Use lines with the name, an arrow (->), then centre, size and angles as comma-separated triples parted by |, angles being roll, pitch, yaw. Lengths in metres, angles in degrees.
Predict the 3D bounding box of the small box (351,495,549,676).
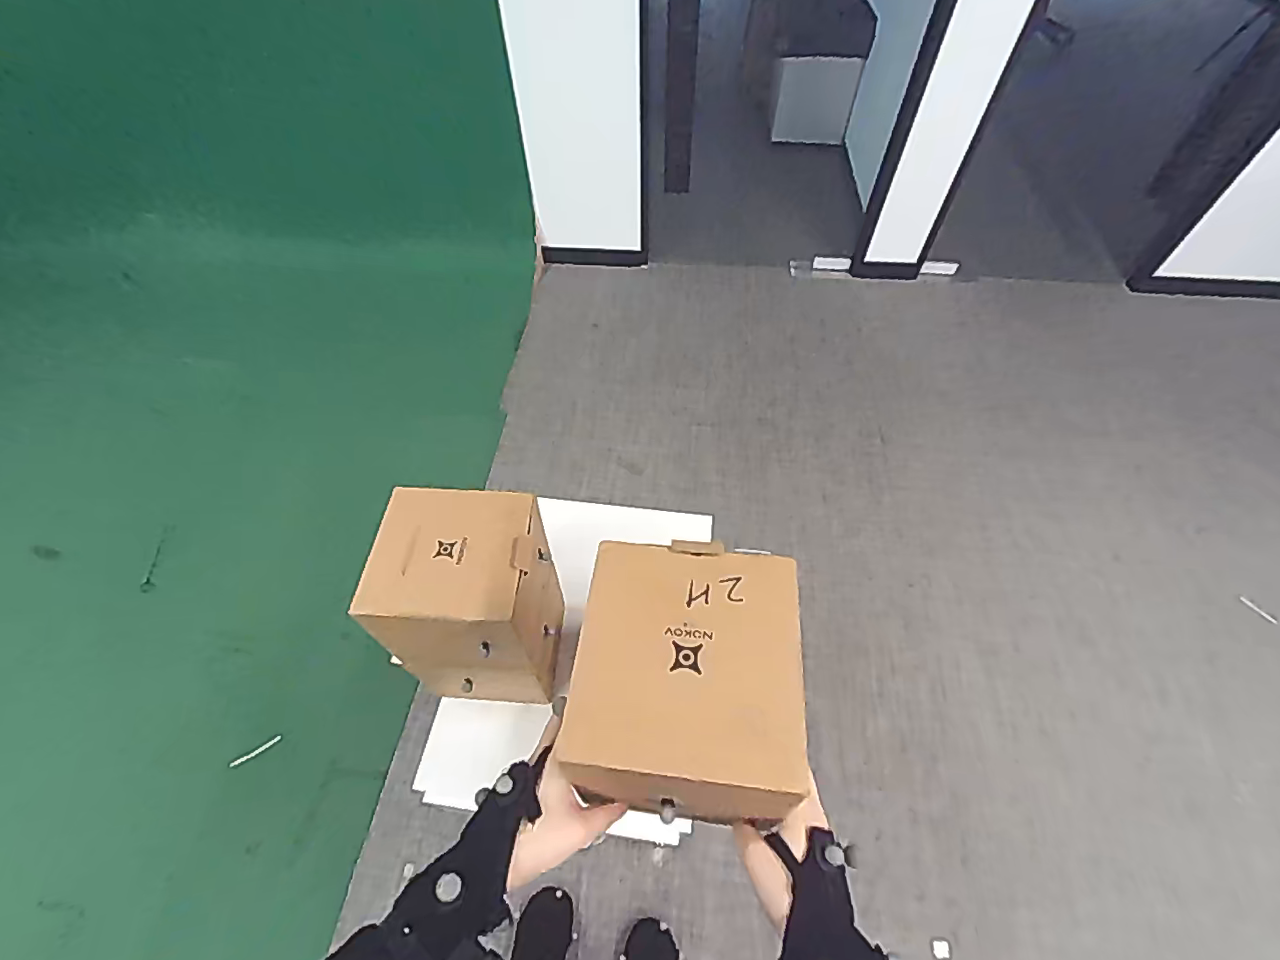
small box -> -0.216, 0.136, 0.675 | 0.179, 0.176, 0.168 | 2, 53, 1

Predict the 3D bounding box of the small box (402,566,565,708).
small box -> -0.218, 0.233, 0.807 | 0.179, 0.176, 0.168 | 3, 55, 2

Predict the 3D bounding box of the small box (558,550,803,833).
small box -> 0.039, 0.185, 0.466 | 0.168, 0.176, 0.179 | 6, 50, 5
